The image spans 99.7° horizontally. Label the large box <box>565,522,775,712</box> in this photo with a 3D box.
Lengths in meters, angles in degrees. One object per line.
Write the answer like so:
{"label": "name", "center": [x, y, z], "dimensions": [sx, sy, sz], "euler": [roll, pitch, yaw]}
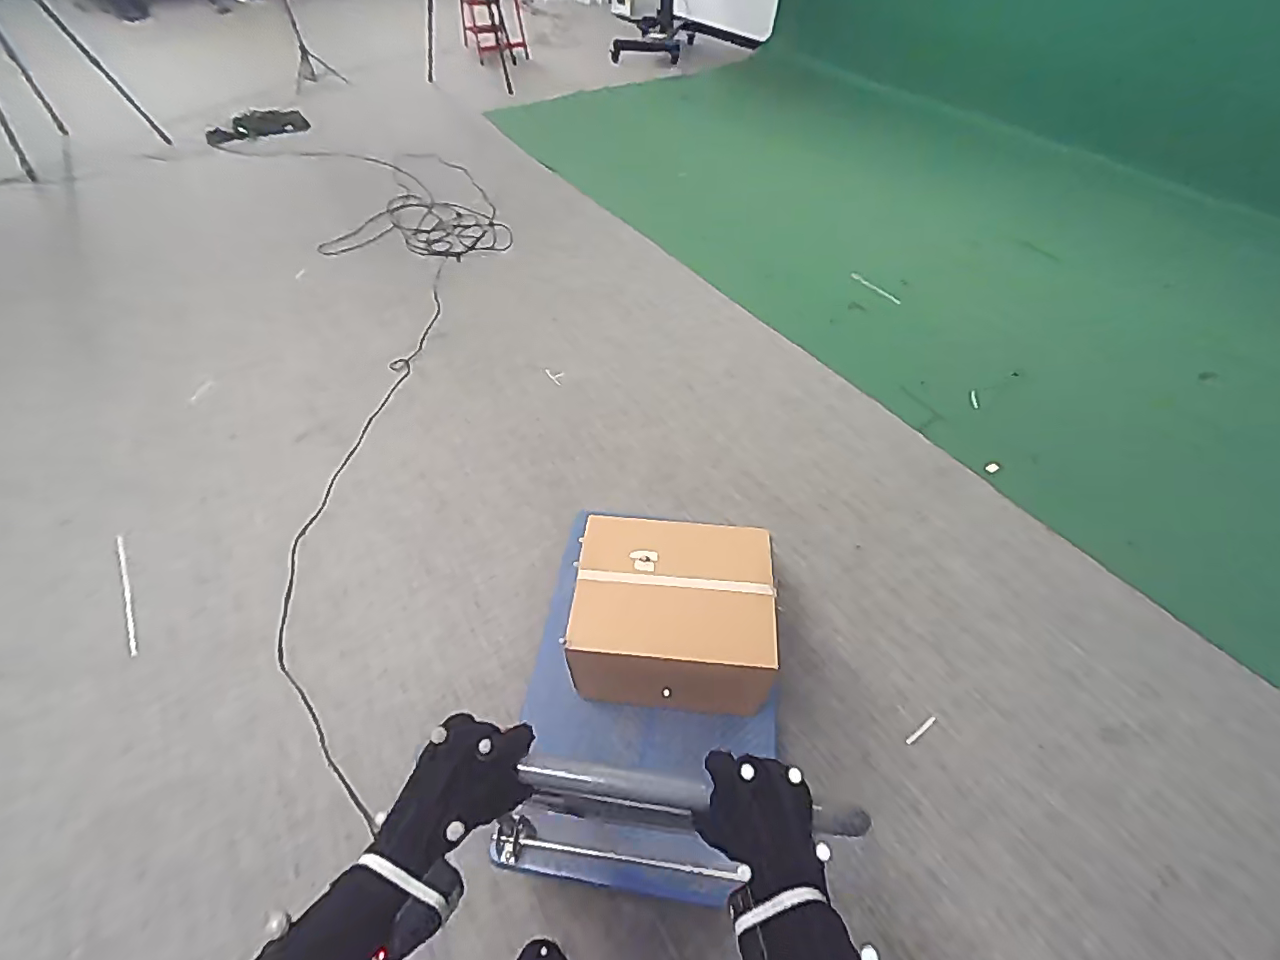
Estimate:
{"label": "large box", "center": [0.070, 0.316, 1.224], "dimensions": [0.408, 0.320, 0.320], "euler": [4, 51, 4]}
